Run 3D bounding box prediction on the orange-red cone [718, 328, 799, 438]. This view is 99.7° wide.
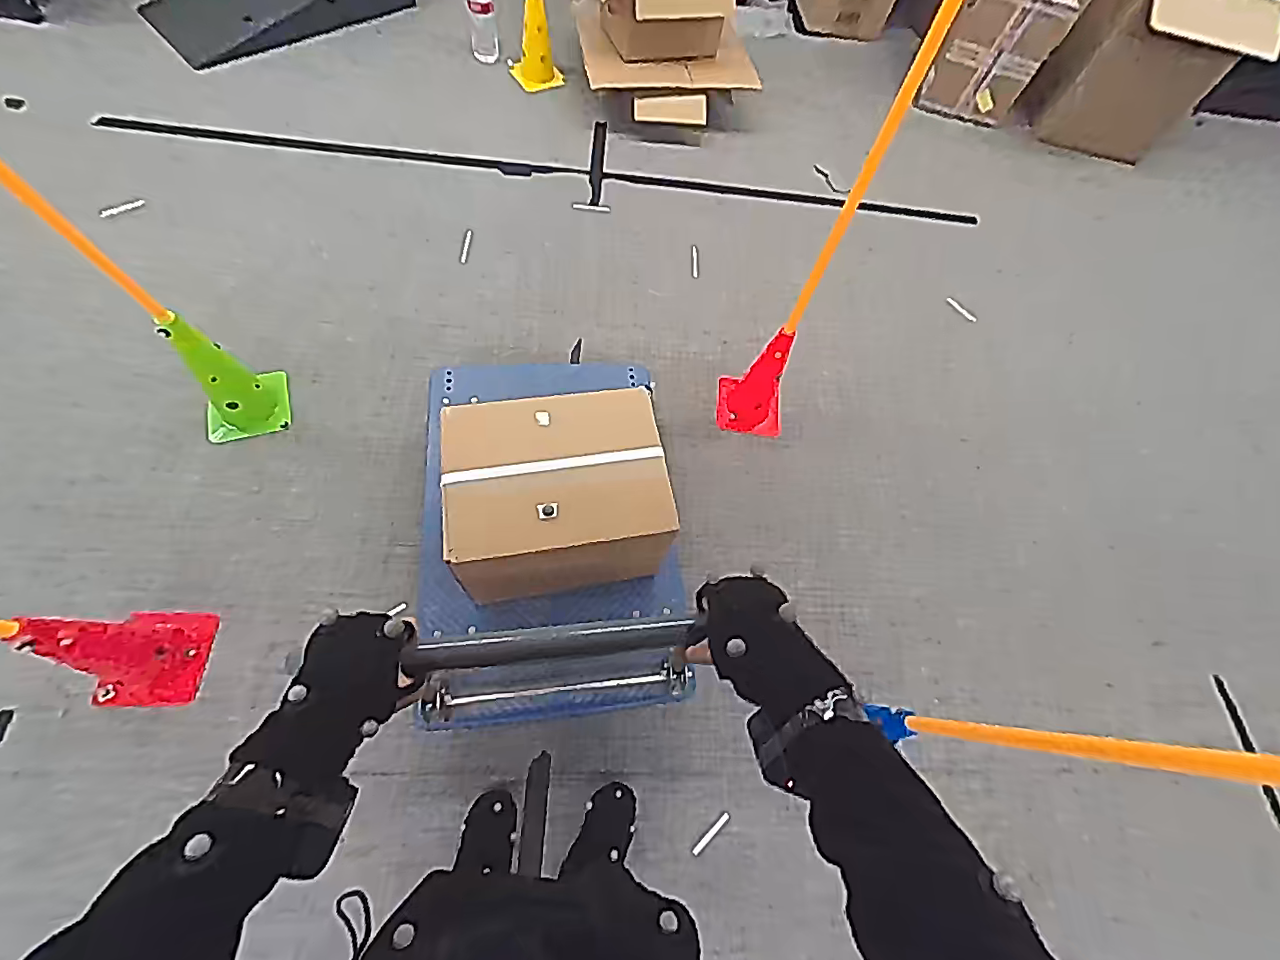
[{"bbox_3d":[0.369,-0.301,1.536,0.199,0.360,0.198,10,64,-4],"label":"orange-red cone"}]
